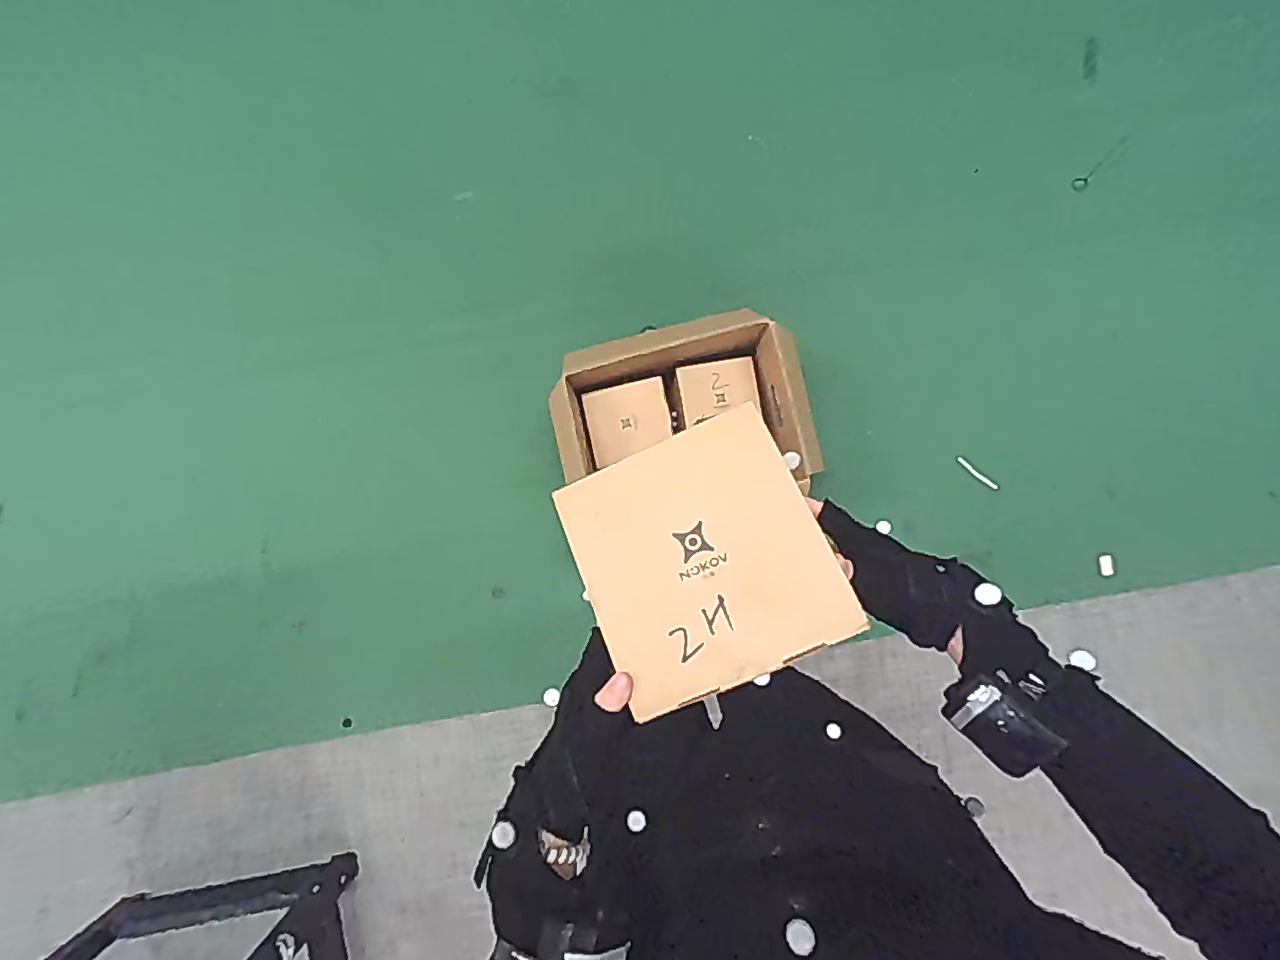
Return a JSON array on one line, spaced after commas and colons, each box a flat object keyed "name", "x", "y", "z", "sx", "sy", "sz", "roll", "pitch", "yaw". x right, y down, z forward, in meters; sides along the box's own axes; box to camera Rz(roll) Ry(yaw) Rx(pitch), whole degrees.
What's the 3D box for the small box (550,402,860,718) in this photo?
[{"name": "small box", "x": 0.052, "y": 0.070, "z": 0.447, "sx": 0.168, "sy": 0.176, "sz": 0.179, "roll": -25, "pitch": 71, "yaw": 7}]
